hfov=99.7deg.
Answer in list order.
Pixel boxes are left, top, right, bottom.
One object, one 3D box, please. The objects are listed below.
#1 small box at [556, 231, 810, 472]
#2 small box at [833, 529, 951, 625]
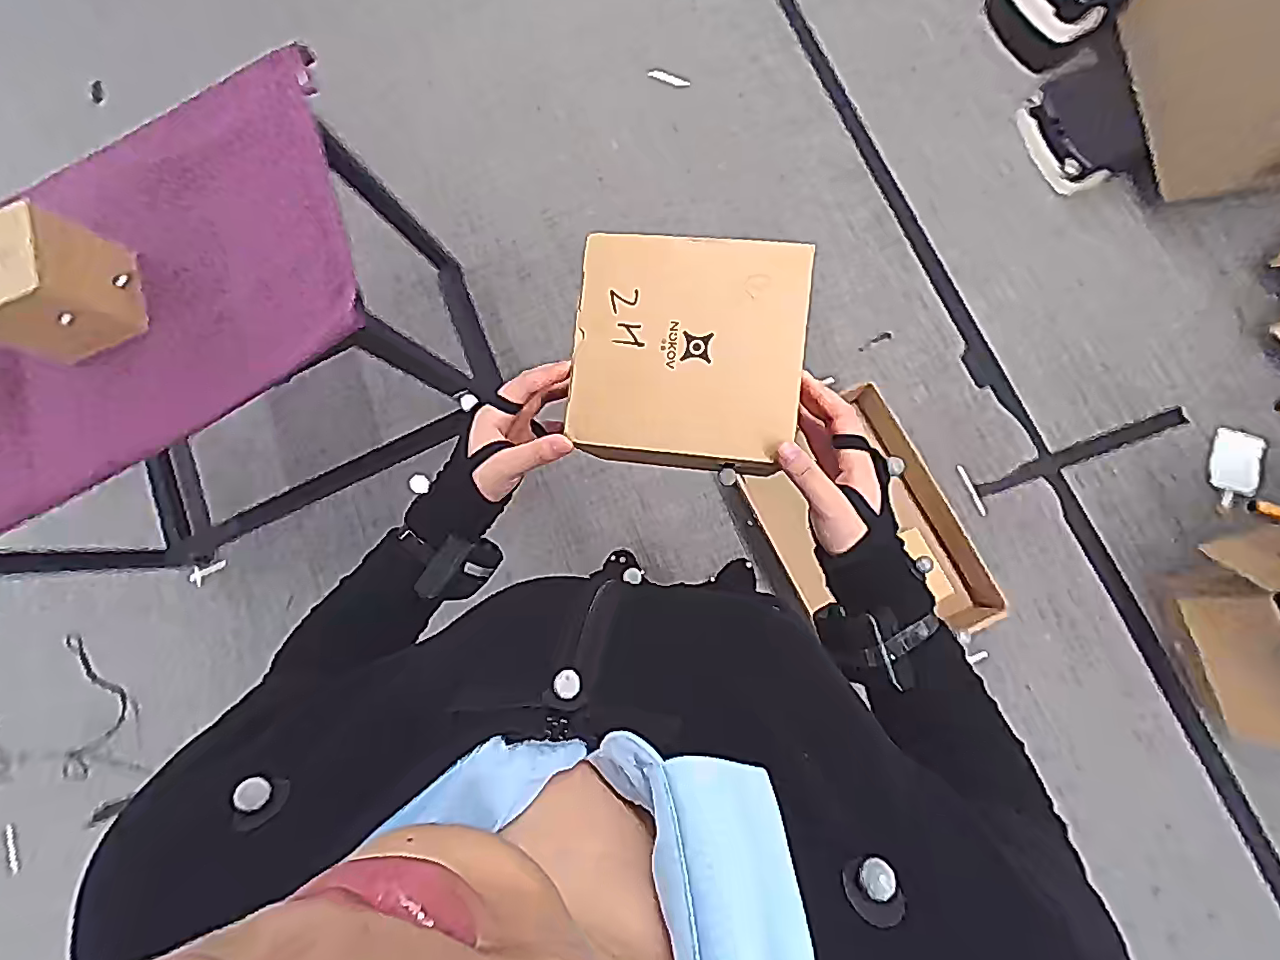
[{"bbox_3d":[0.039,-0.098,0.482,0.179,0.176,0.168,6,88,7],"label":"small box"},{"bbox_3d":[0.590,0.226,1.292,0.179,0.176,0.168,-27,79,5],"label":"small box"}]
